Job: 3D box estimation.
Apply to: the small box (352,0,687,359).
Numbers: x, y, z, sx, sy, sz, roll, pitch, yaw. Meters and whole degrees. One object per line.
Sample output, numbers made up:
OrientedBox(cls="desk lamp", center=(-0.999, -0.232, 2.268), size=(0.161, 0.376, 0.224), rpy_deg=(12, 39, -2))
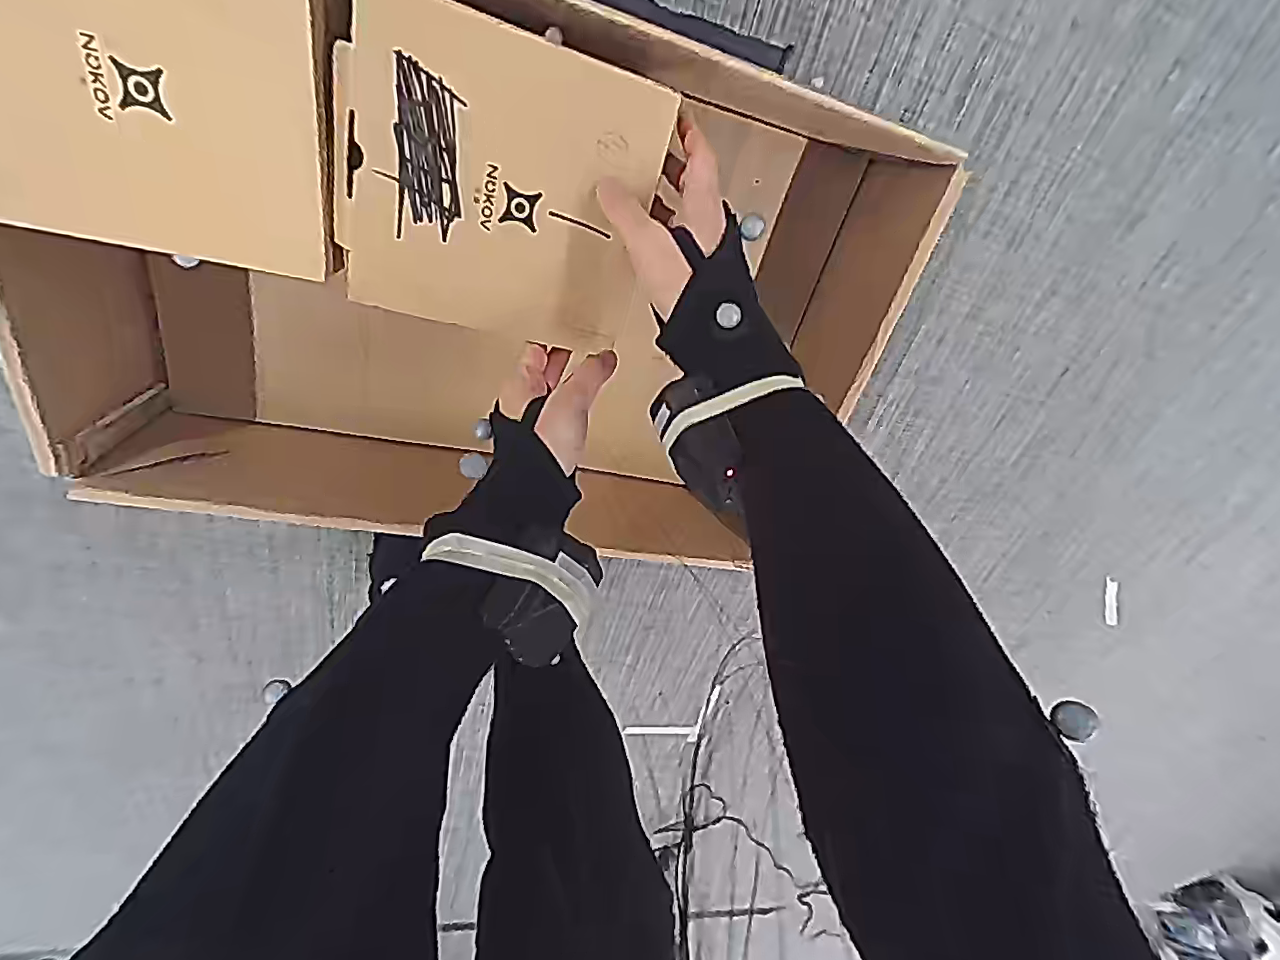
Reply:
OrientedBox(cls="small box", center=(-0.089, -0.212, 0.393), size=(0.179, 0.176, 0.168), rpy_deg=(10, 122, -17))
